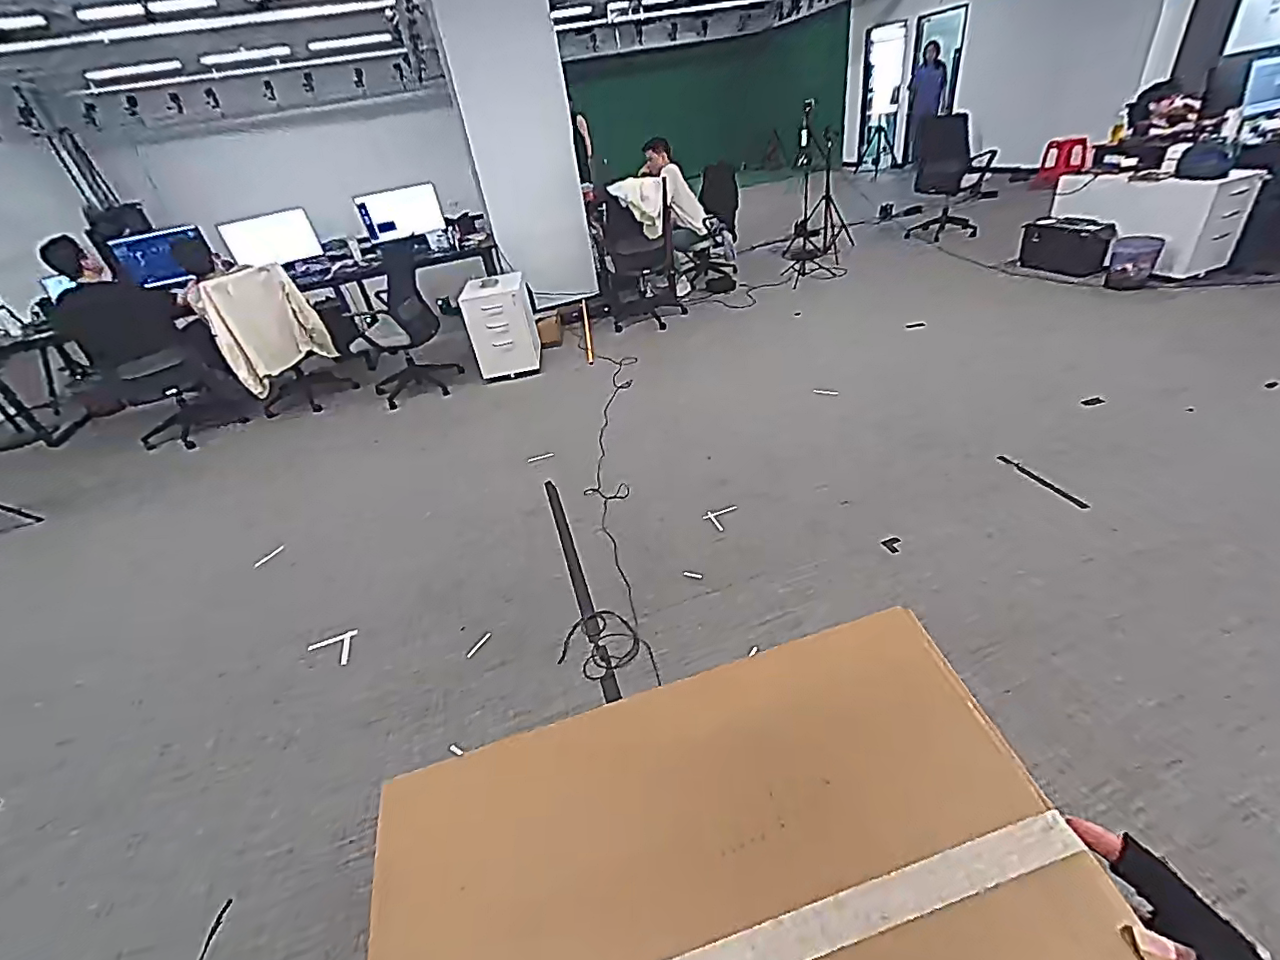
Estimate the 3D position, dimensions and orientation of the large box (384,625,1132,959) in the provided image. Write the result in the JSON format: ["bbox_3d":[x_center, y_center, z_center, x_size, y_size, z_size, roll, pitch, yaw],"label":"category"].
[{"bbox_3d":[0.076,0.373,0.401,0.408,0.320,0.320,-18,44,-4],"label":"large box"}]
